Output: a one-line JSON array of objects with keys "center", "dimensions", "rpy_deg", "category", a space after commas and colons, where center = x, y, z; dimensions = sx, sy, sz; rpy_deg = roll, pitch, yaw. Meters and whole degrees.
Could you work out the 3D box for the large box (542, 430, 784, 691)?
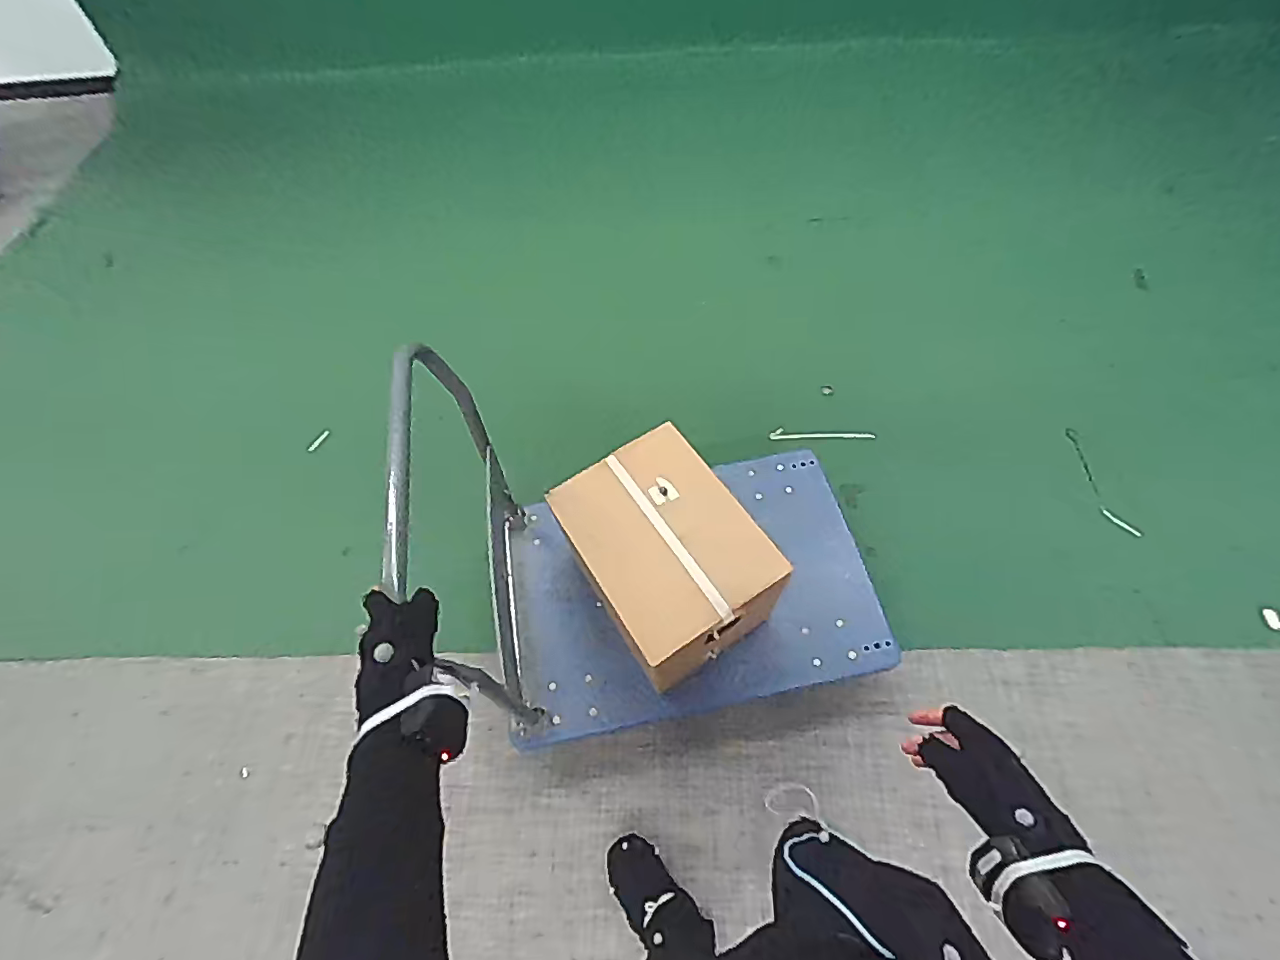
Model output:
[{"center": [0.048, 0.179, 1.173], "dimensions": [0.320, 0.320, 0.408], "rpy_deg": [-31, 62, -13], "category": "large box"}]
